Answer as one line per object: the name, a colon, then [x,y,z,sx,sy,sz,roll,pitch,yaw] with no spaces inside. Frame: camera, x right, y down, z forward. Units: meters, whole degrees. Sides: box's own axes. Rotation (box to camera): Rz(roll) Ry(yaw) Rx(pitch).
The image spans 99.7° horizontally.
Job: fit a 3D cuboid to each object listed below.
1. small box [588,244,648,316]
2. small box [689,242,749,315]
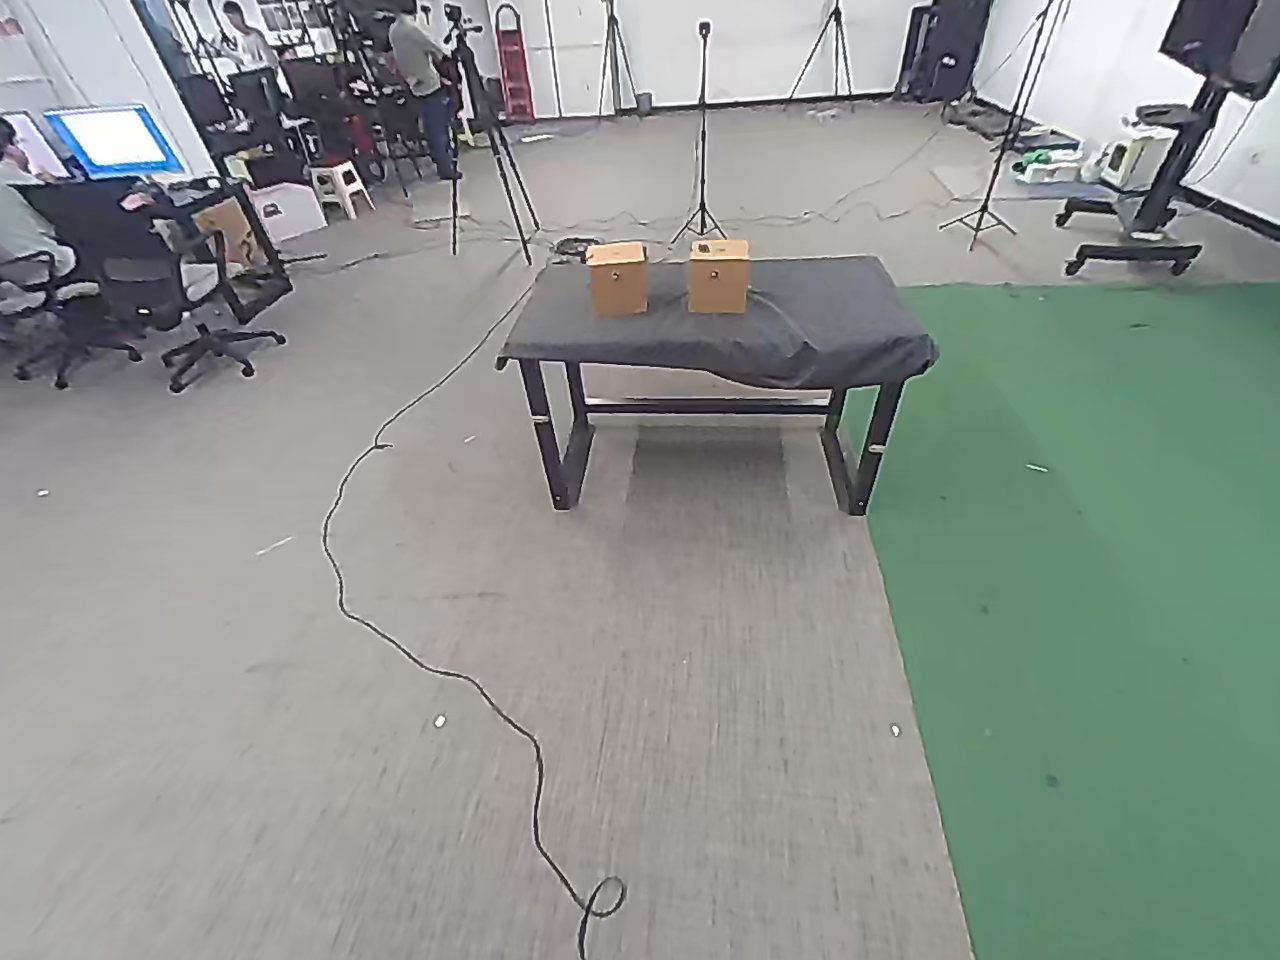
small box: [-0.068,-0.634,1.726,0.179,0.176,0.168,-4,43,-1]
small box: [0.247,-0.628,1.687,0.179,0.176,0.168,3,42,7]
